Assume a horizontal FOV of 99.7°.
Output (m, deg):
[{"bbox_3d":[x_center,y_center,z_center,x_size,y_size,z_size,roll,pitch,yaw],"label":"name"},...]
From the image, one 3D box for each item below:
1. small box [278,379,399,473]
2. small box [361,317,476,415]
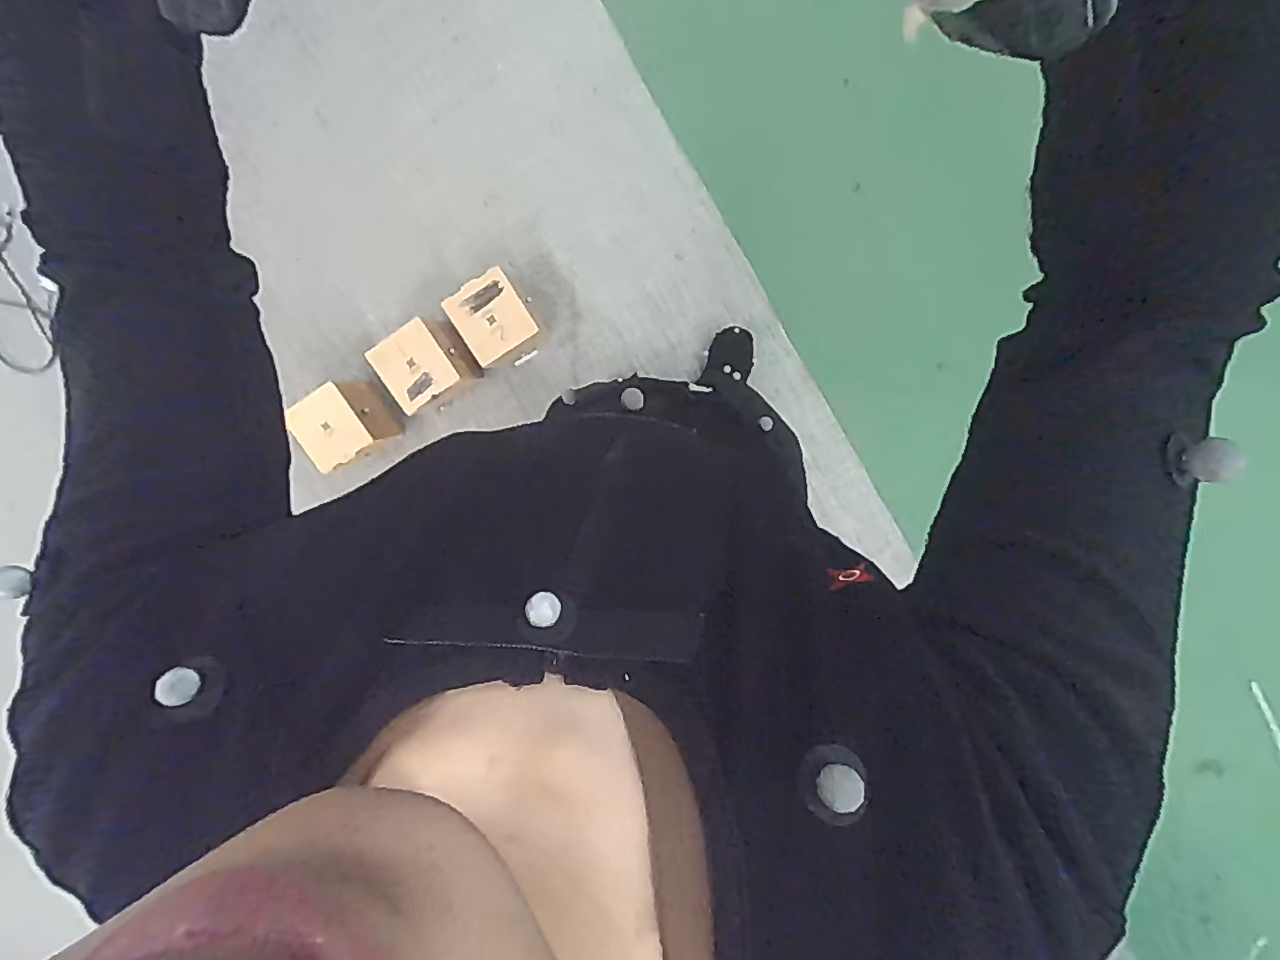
[{"bbox_3d":[-0.764,-0.142,1.389,0.168,0.176,0.179,-31,99,8],"label":"small box"},{"bbox_3d":[-0.541,-0.283,1.352,0.168,0.176,0.179,-32,97,8],"label":"small box"}]
